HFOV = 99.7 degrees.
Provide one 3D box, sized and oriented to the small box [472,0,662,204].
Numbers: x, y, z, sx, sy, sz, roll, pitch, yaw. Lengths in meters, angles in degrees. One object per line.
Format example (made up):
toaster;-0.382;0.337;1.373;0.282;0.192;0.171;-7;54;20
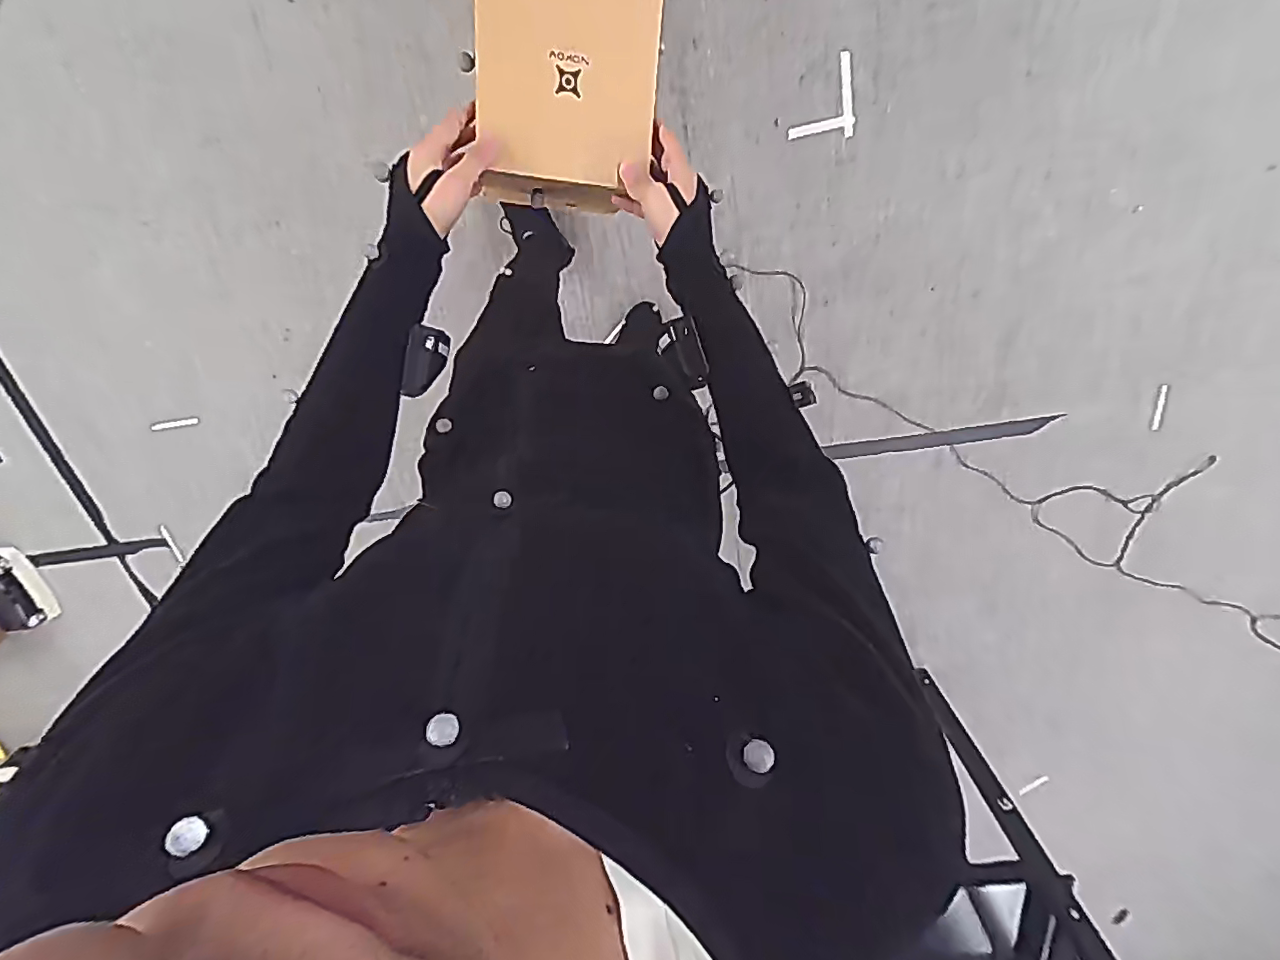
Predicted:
small box;-0.082;-0.399;0.559;0.168;0.176;0.179;1;107;-14
